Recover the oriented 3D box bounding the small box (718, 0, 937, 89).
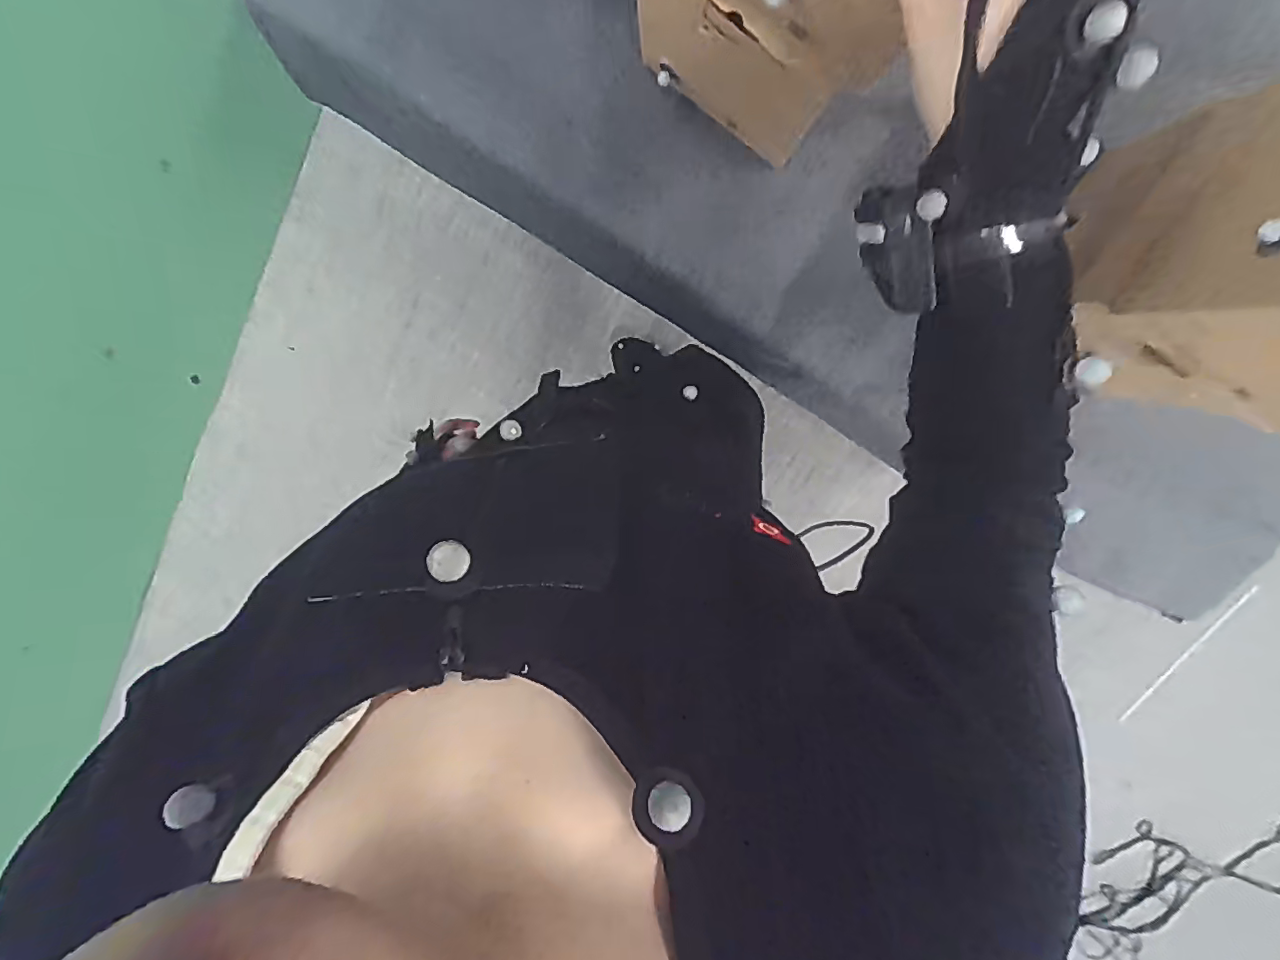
[{"bbox_3d":[0.122,-0.353,0.265,0.168,0.176,0.179,31,103,-6],"label":"small box"}]

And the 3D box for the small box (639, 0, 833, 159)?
[{"bbox_3d":[0.111,-0.397,0.425,0.168,0.176,0.179,34,103,-7],"label":"small box"}]

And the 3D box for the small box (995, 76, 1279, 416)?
[{"bbox_3d":[0.454,-0.182,0.467,0.168,0.176,0.179,33,105,-6],"label":"small box"}]

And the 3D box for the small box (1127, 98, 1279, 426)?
[{"bbox_3d":[0.448,-0.130,0.312,0.168,0.176,0.179,31,104,-7],"label":"small box"}]
